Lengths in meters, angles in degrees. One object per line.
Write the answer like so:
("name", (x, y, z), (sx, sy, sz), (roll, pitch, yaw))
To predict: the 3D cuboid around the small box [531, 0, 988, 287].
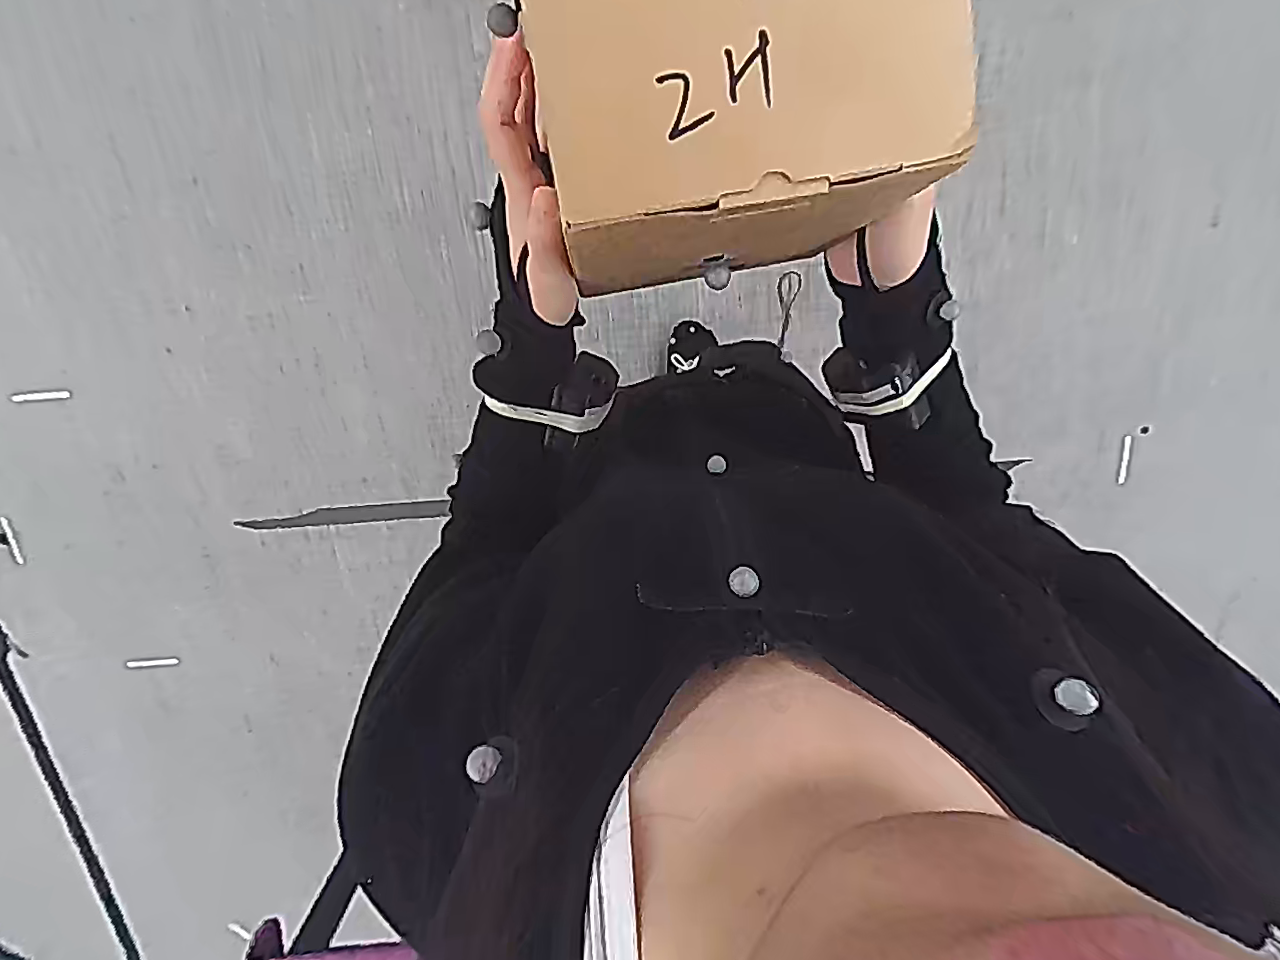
("small box", (0.035, -0.213, 0.271), (0.168, 0.176, 0.179), (-11, 101, -2))
